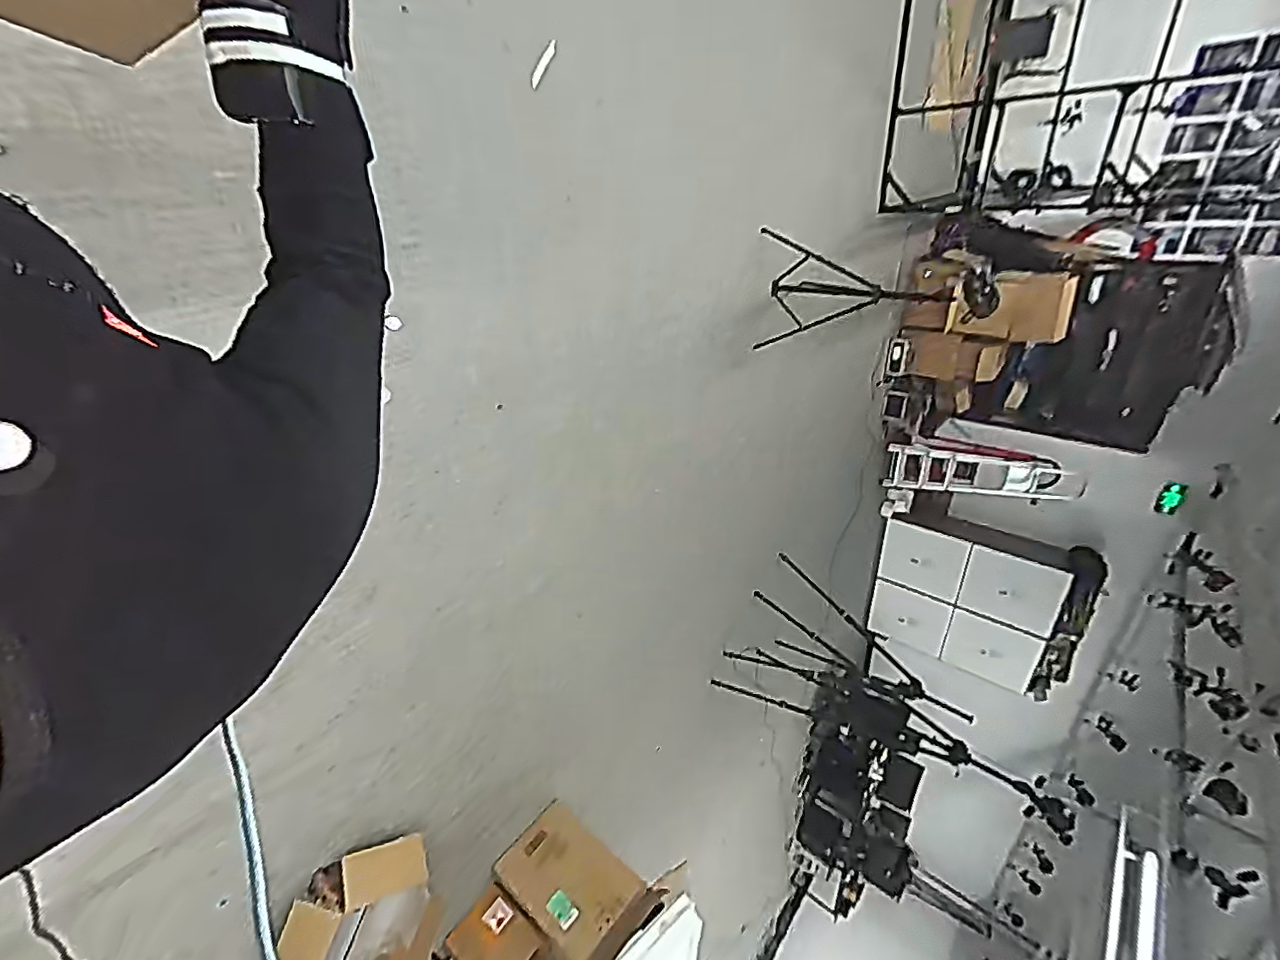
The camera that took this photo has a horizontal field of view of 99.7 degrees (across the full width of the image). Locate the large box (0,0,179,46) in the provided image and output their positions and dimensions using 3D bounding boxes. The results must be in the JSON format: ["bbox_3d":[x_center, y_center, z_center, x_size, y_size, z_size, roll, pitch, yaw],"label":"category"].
[{"bbox_3d":[-0.479,-0.490,0.240,0.408,0.320,0.320,-9,115,-52],"label":"large box"}]
